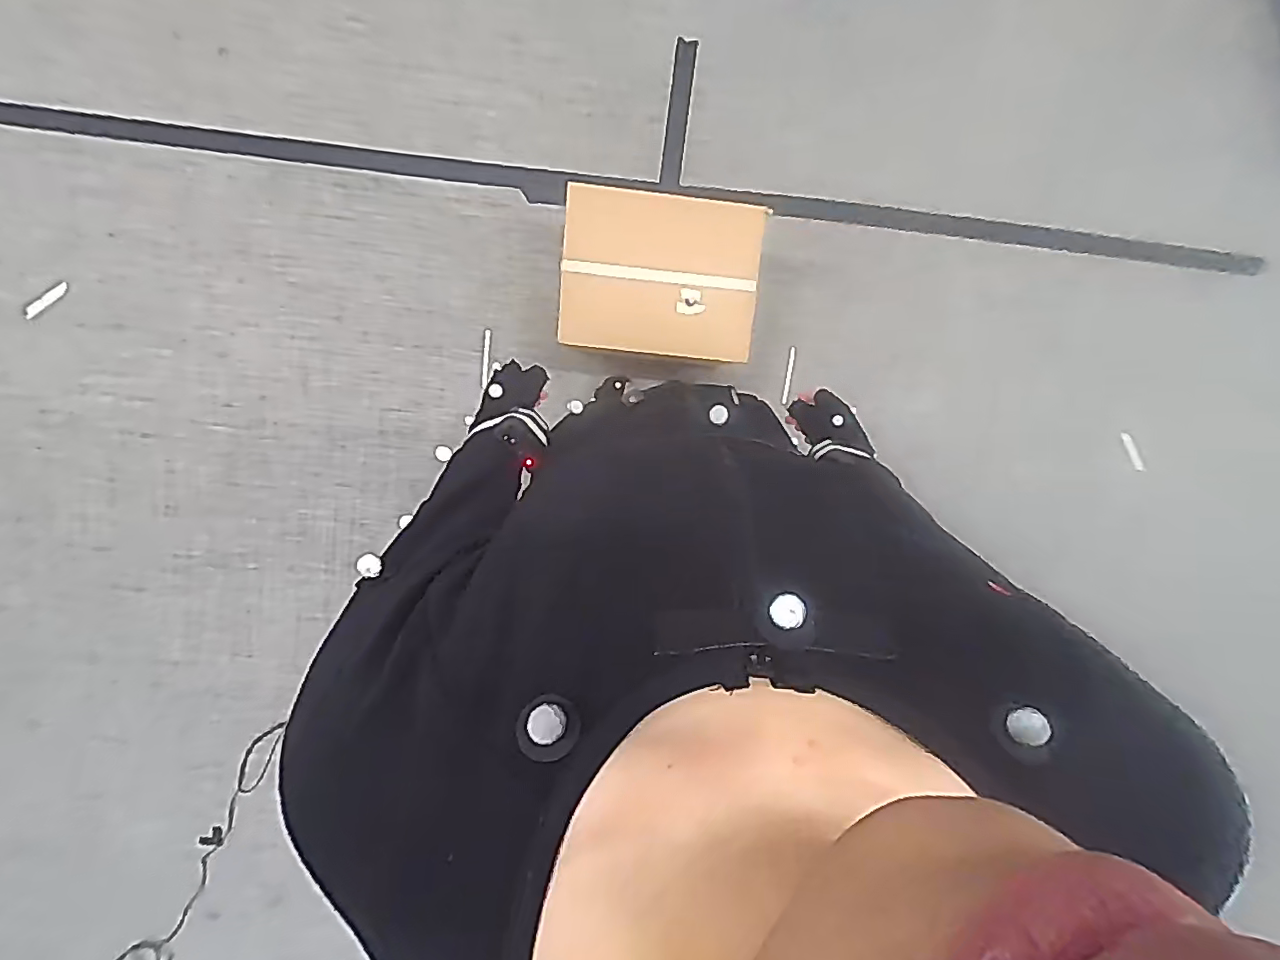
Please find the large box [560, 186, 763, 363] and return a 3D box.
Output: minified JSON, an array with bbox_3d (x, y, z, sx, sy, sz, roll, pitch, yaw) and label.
[{"bbox_3d":[0.031,-0.447,1.256,0.408,0.320,0.320,5,101,-5],"label":"large box"}]
